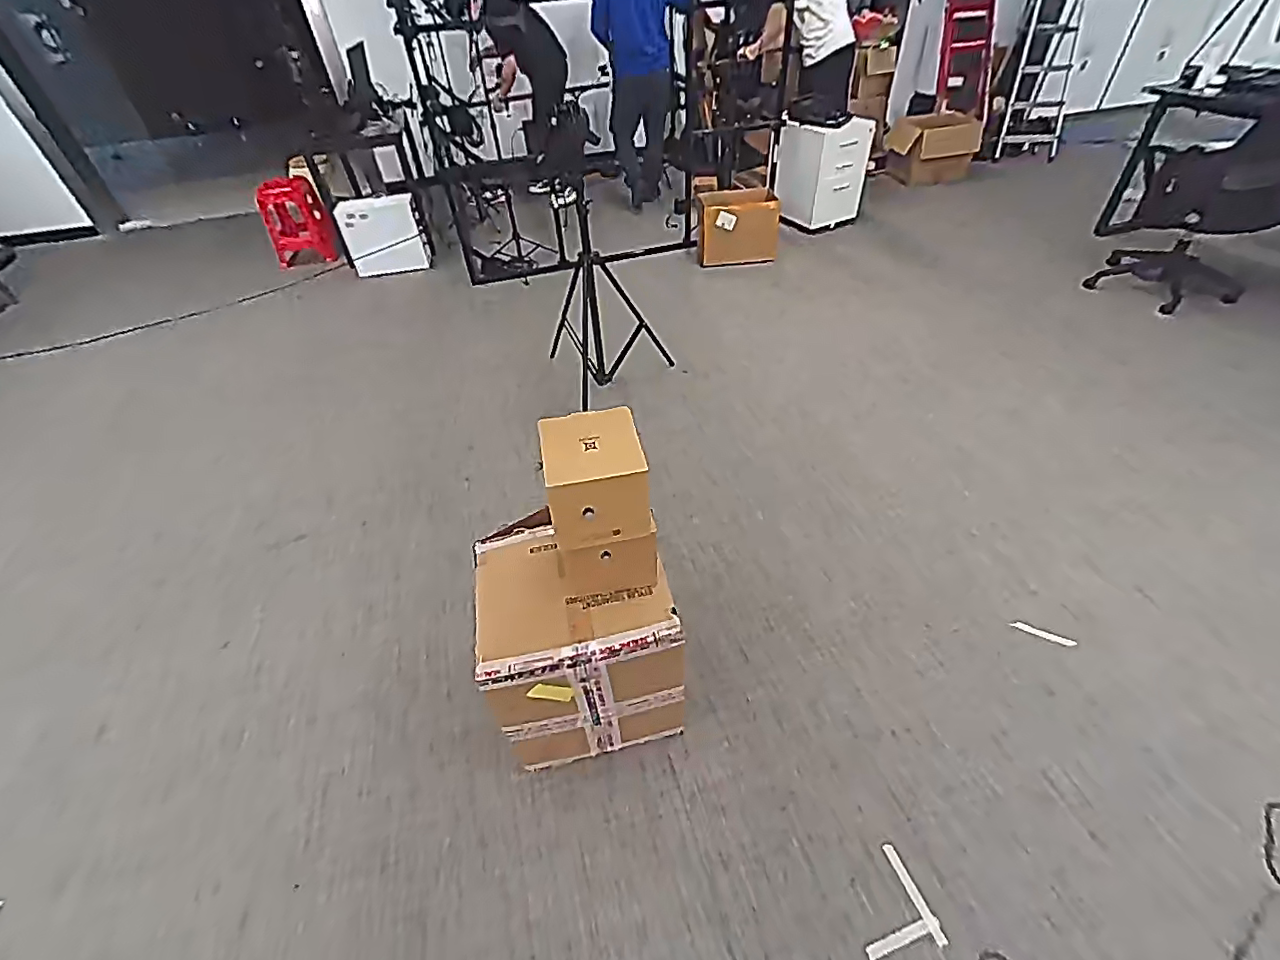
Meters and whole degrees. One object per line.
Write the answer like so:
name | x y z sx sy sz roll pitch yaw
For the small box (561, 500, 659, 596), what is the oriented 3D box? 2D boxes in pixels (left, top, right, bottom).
small box | -0.062 0.113 1.078 0.179 0.176 0.168 -8 46 -6

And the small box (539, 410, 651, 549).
small box | -0.077 0.005 0.958 0.168 0.176 0.179 -10 45 -7
